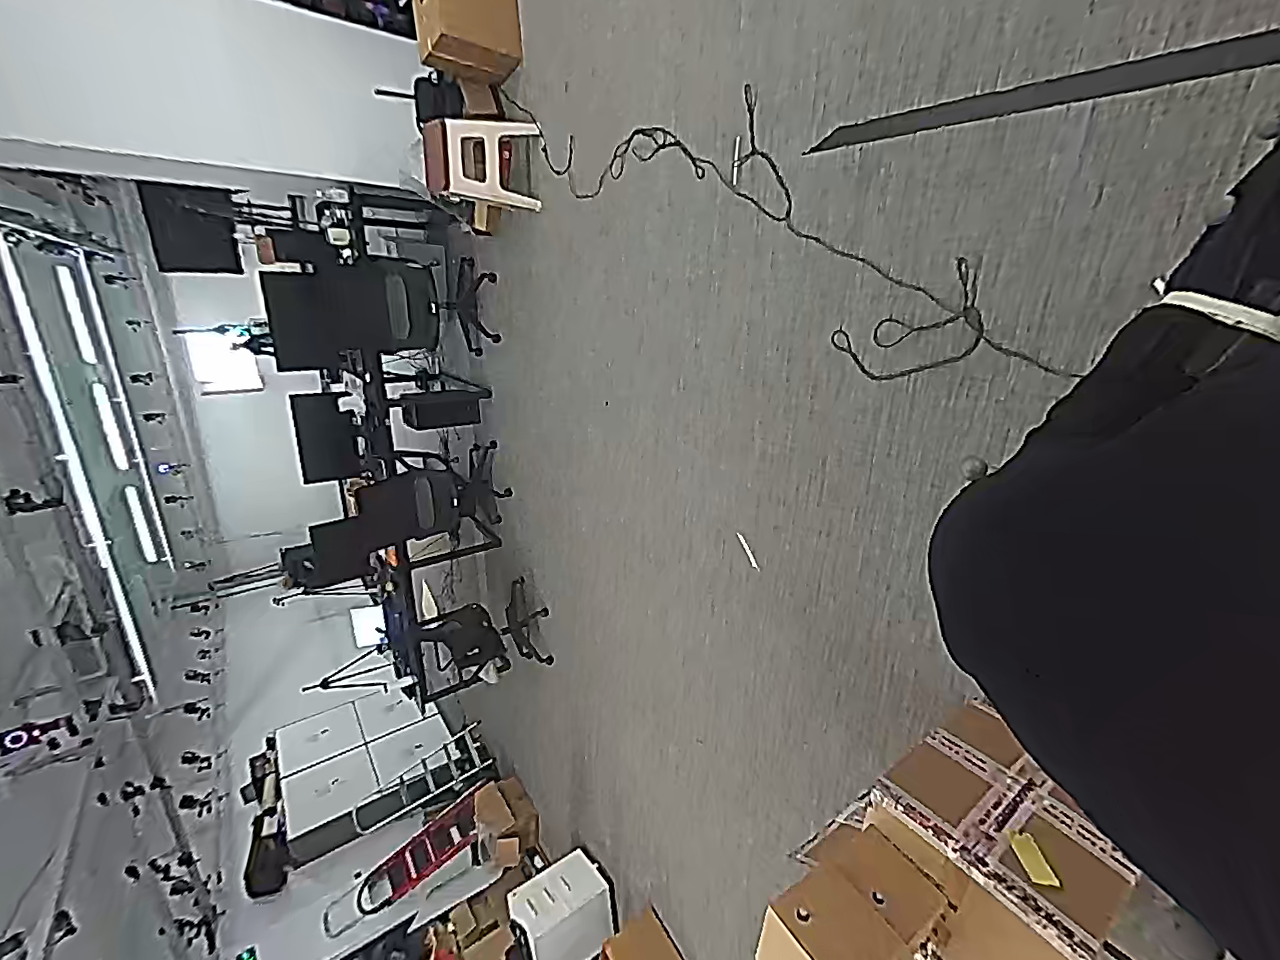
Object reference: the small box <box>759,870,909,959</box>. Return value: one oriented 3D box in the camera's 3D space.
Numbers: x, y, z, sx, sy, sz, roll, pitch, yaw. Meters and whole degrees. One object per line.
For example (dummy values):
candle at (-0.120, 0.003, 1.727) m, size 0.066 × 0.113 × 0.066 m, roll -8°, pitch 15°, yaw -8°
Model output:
small box at (0.350, 0.865, 0.990) m, size 0.179 × 0.176 × 0.168 m, roll 31°, pitch 123°, yaw 50°

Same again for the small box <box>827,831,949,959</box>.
small box at (0.483, 0.863, 1.091) m, size 0.179 × 0.176 × 0.168 m, roll 35°, pitch 126°, yaw 48°
